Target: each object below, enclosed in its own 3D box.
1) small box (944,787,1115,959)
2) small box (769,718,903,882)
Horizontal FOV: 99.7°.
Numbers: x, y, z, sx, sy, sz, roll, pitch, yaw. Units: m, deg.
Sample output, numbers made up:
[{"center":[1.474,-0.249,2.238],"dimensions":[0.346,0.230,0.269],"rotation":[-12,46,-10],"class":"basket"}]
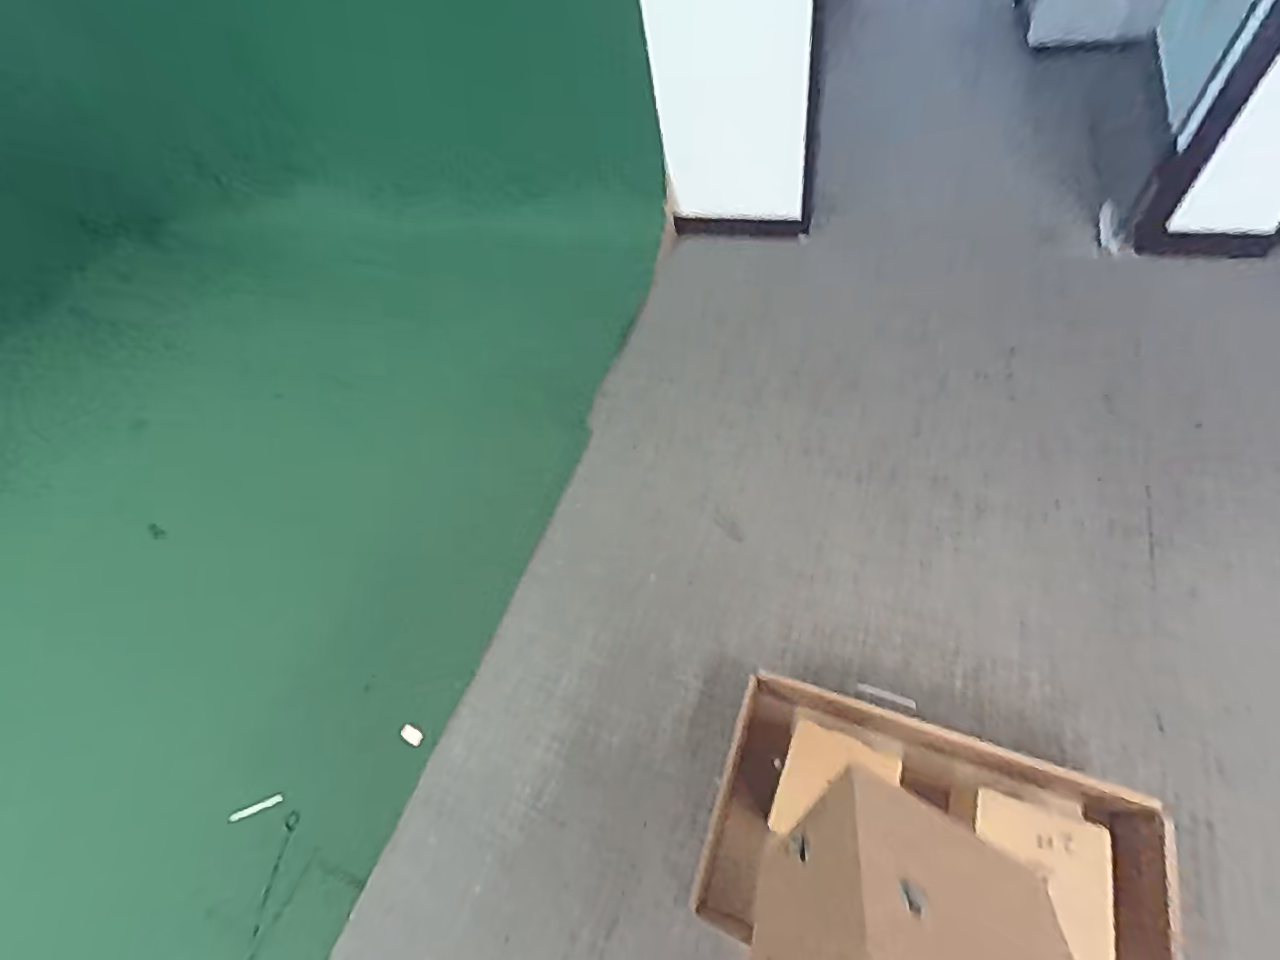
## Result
[{"center":[0.576,0.592,0.817],"dimensions":[0.168,0.176,0.179],"rotation":[12,63,20],"class":"small box"},{"center":[0.327,0.536,0.917],"dimensions":[0.168,0.176,0.179],"rotation":[17,64,22],"class":"small box"}]
